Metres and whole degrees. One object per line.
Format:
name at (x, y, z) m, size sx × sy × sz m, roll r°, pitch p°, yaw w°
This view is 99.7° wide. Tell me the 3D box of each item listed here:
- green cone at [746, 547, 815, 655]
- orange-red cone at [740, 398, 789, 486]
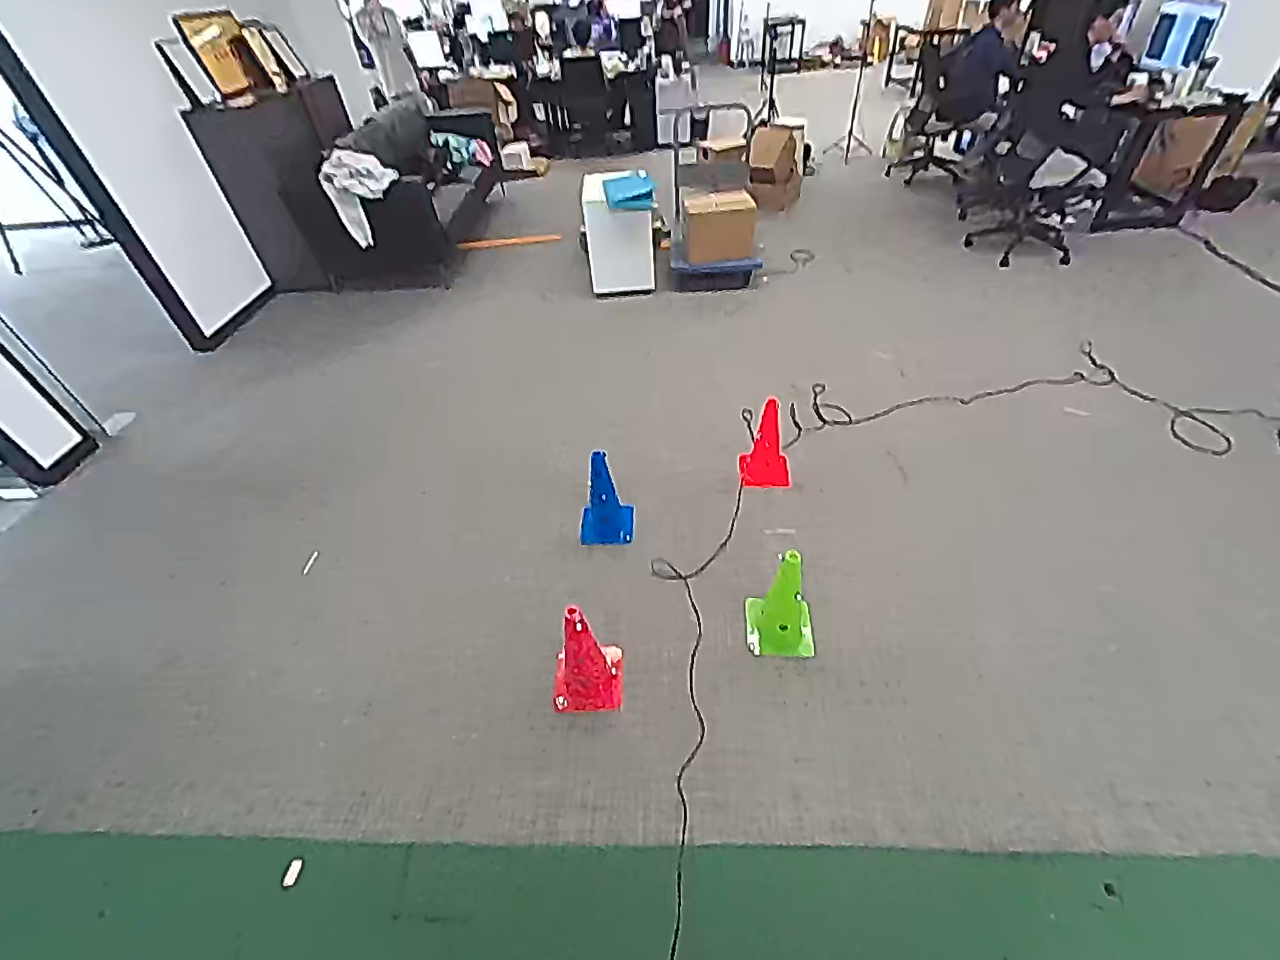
green cone at (0.430, 0.333, 1.589) m, size 0.200 × 0.368 × 0.202 m, roll 1°, pitch 42°, yaw 5°
orange-red cone at (0.500, -0.165, 2.121) m, size 0.198 × 0.360 × 0.199 m, roll 1°, pitch 45°, yaw 8°
